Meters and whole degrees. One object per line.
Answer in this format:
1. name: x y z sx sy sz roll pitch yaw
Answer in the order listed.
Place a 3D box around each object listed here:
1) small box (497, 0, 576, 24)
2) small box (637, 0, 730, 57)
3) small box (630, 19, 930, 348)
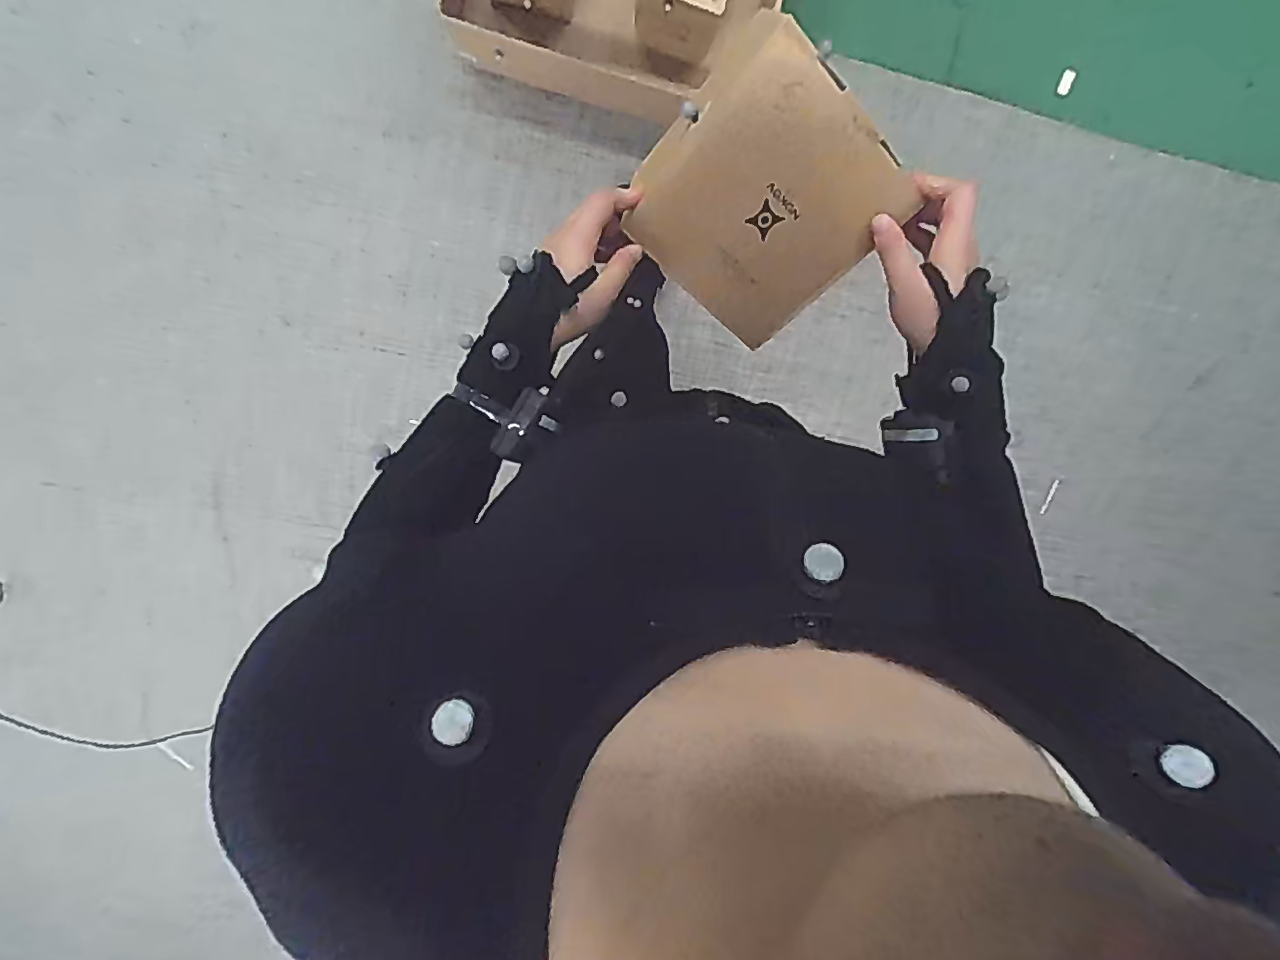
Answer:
1. small box: -0.193 -0.993 0.988 0.168 0.176 0.179 9 108 -7
2. small box: 0.095 -0.957 1.020 0.168 0.176 0.179 15 108 -8
3. small box: 0.110 -0.262 0.481 0.168 0.176 0.179 35 126 -23
